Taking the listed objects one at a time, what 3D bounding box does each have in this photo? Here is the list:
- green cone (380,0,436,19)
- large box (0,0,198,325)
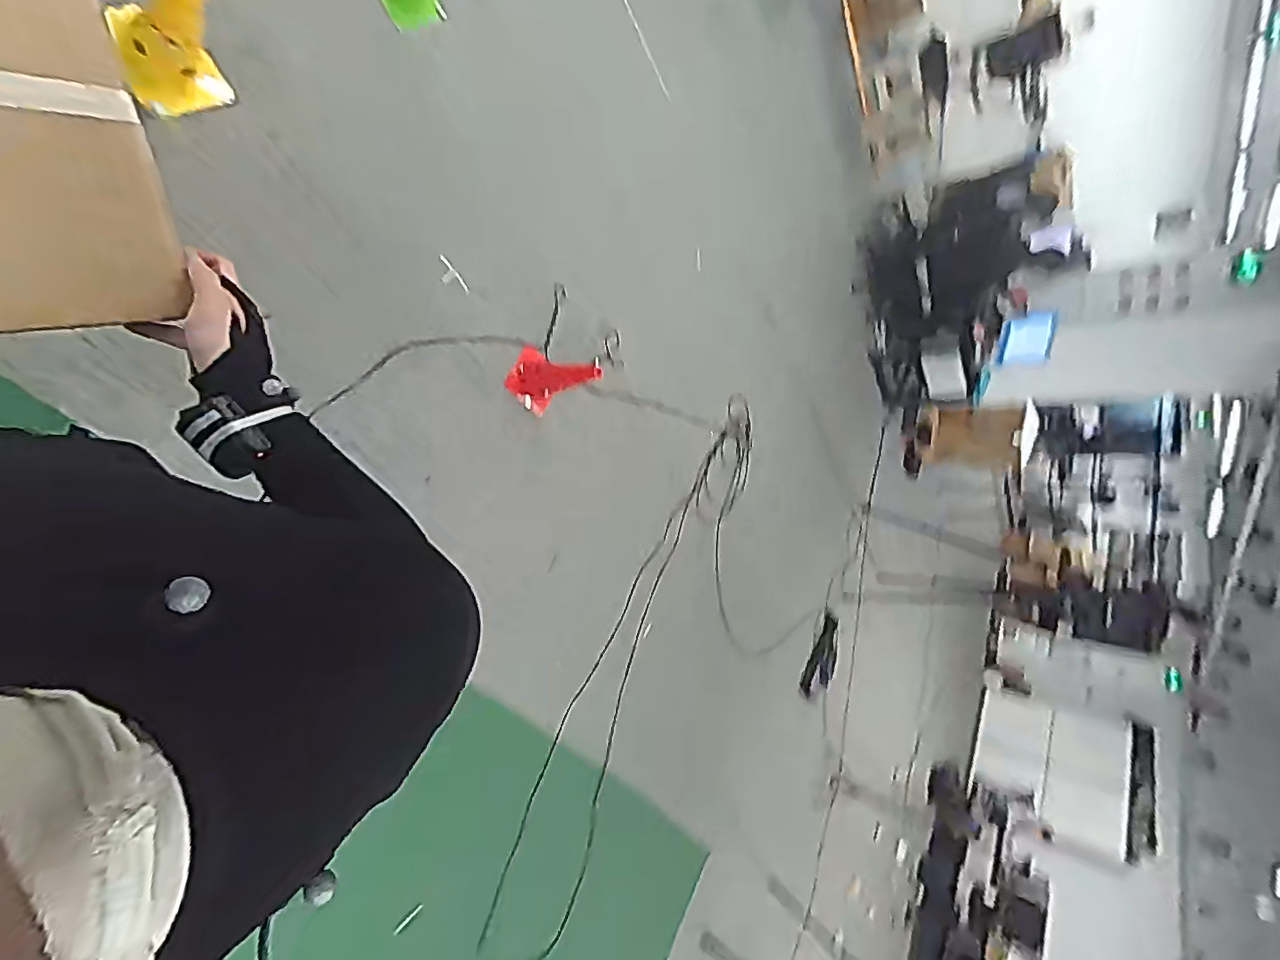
[{"bbox_3d":[-0.603,-1.490,1.481,0.202,0.368,0.200,-53,128,-30],"label":"green cone"},{"bbox_3d":[-0.639,-0.266,0.375,0.408,0.320,0.320,-25,122,-46],"label":"large box"}]
